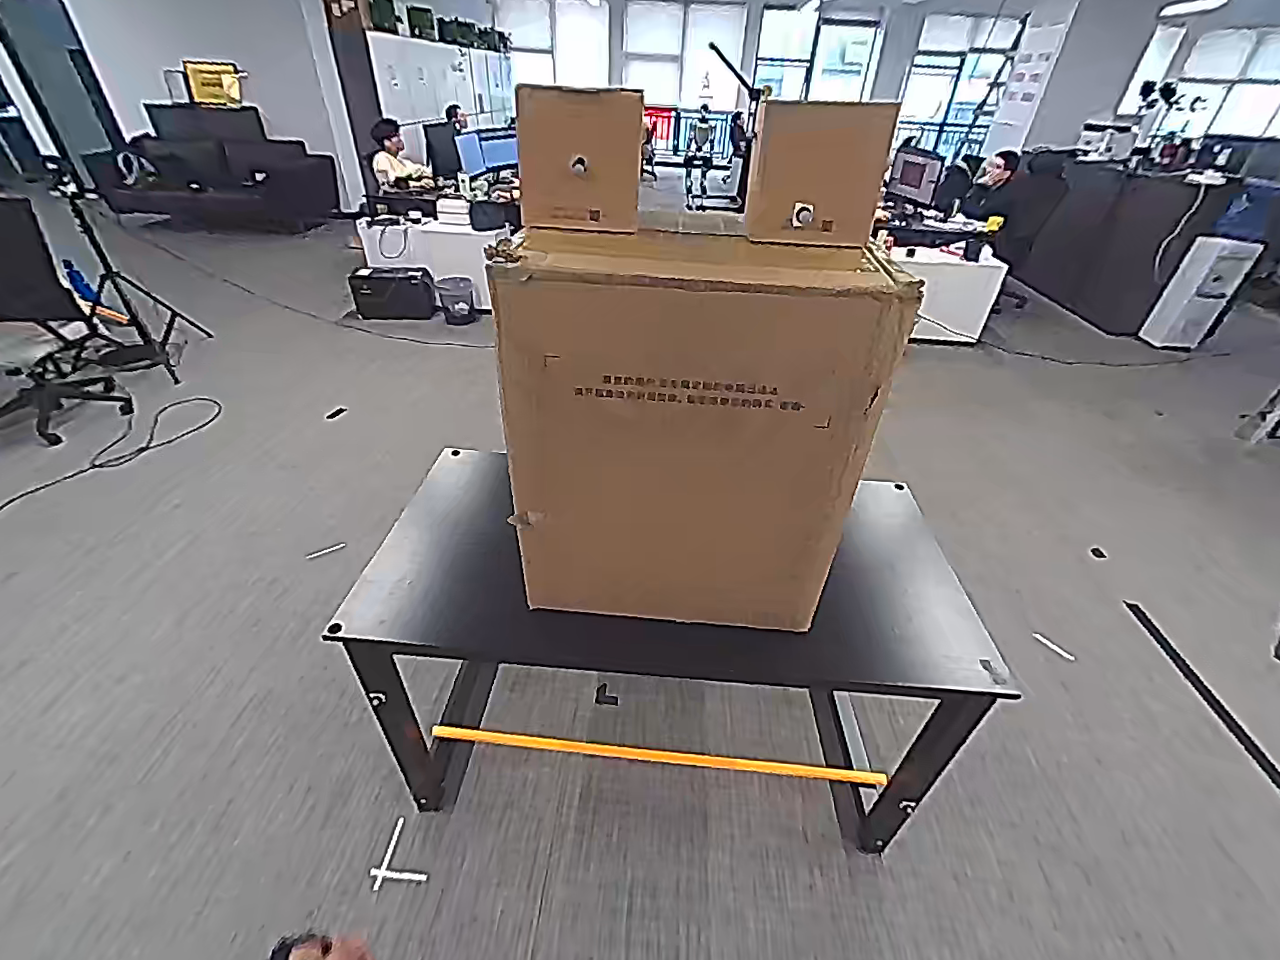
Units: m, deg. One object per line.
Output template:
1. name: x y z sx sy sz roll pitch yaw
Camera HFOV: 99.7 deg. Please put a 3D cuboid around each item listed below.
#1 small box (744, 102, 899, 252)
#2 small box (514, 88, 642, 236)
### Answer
1. small box: 0.244 -0.438 0.778 0.168 0.176 0.179 4 35 5
2. small box: -0.082 -0.467 0.796 0.168 0.176 0.179 3 36 -2
